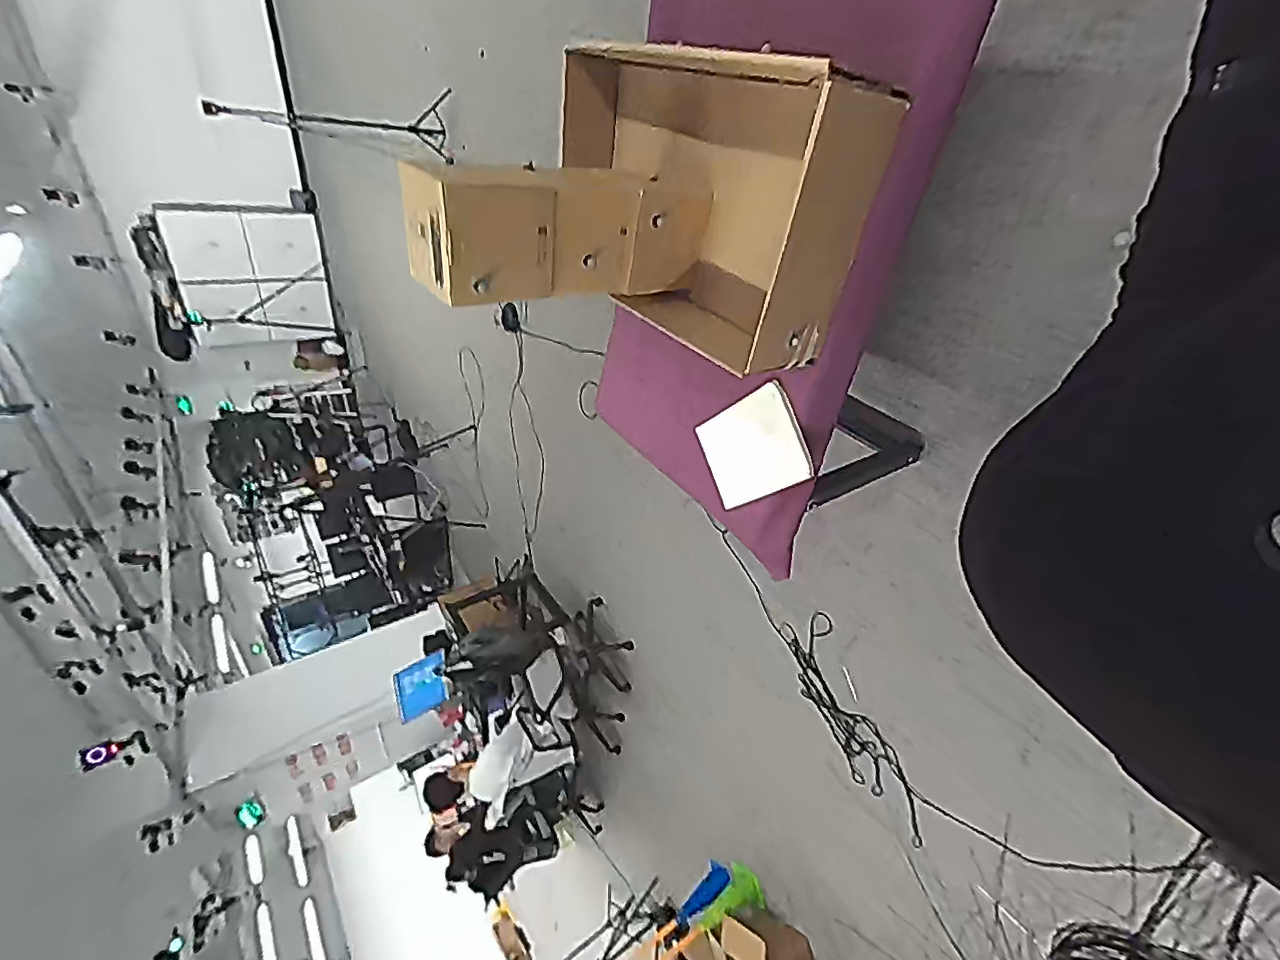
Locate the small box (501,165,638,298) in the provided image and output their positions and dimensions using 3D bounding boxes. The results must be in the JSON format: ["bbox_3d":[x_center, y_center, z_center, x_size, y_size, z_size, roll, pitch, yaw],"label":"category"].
[{"bbox_3d":[-0.123,-0.432,0.933,0.179,0.176,0.168,42,137,35],"label":"small box"}]
